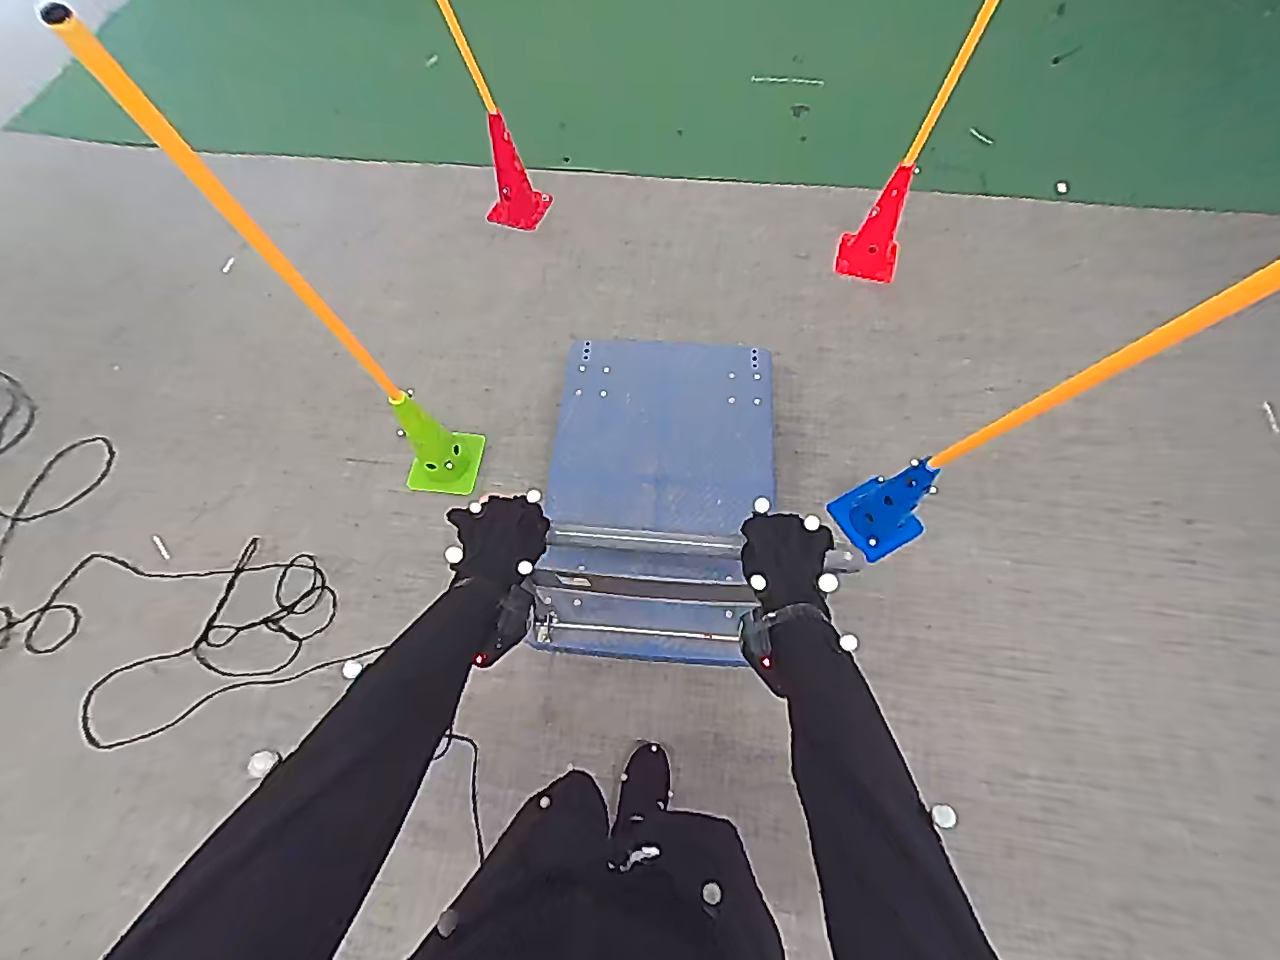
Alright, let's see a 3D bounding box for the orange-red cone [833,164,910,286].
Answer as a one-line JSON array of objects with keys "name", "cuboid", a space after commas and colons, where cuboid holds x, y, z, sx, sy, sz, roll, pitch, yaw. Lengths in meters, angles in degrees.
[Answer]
[{"name": "orange-red cone", "cuboid": [0.783, -0.838, 1.740, 0.198, 0.360, 0.199, 16, 68, 10]}]
